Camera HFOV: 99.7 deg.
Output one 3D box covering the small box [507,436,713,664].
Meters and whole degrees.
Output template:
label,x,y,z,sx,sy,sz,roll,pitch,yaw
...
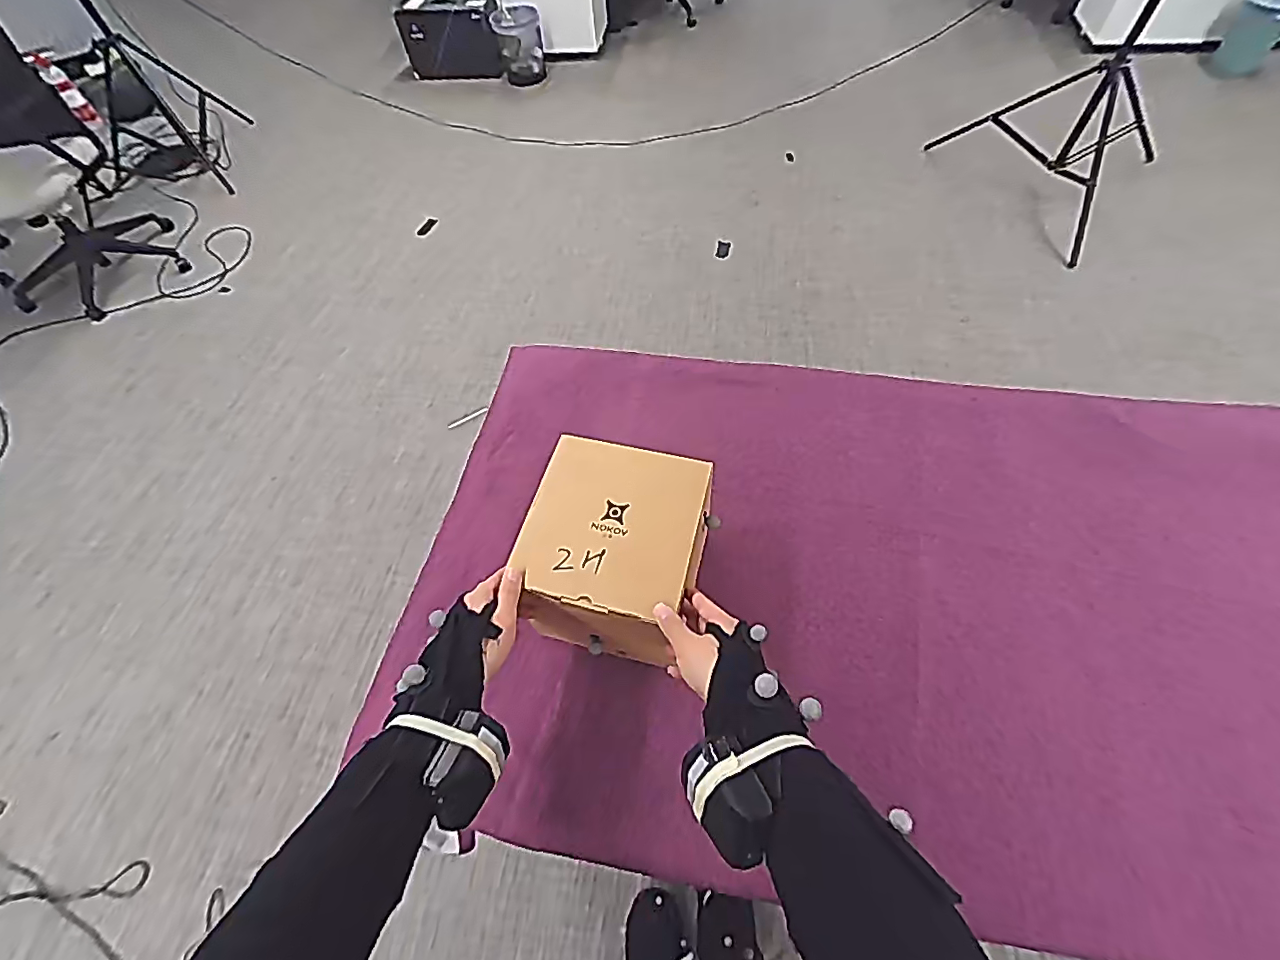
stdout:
label,x,y,z,sx,sy,sz,roll,pitch,yaw
small box,-0.021,0.081,0.596,0.168,0.176,0.179,11,60,11
